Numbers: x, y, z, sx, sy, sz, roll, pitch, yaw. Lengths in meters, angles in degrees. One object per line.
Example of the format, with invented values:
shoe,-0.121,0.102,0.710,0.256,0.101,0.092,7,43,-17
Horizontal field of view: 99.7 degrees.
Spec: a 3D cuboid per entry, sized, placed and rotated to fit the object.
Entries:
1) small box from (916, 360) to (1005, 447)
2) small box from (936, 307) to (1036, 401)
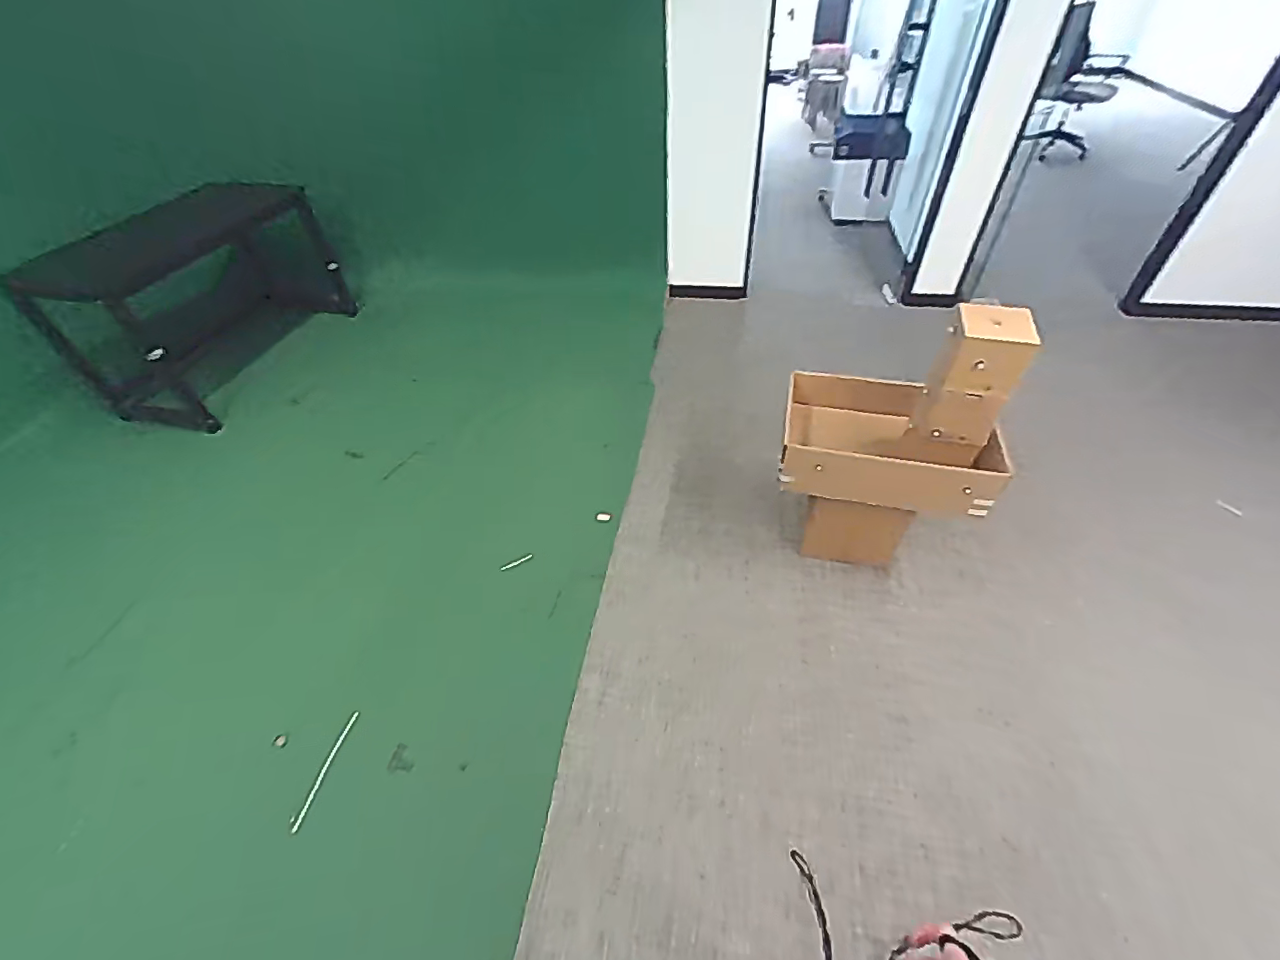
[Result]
small box,0.896,-0.214,1.526,0.168,0.176,0.179,11,46,14
small box,0.892,-0.327,1.410,0.168,0.176,0.179,11,46,14
